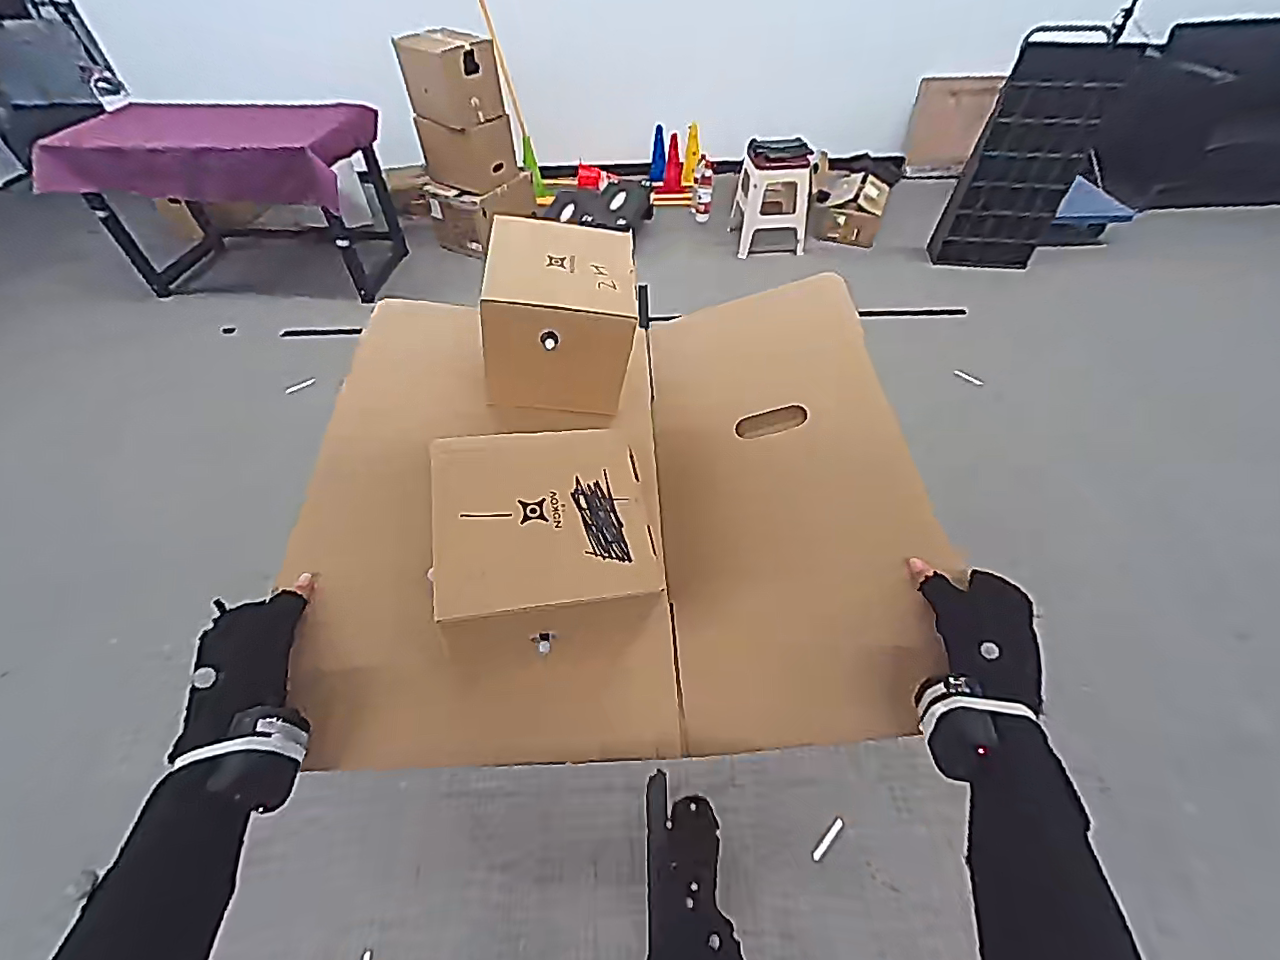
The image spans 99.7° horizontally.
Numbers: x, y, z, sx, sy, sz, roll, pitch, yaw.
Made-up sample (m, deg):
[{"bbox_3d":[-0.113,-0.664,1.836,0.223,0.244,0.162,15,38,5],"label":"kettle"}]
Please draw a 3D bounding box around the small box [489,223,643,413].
[{"bbox_3d":[-0.098,-0.206,0.715,0.179,0.176,0.168,5,56,-10],"label":"small box"}]

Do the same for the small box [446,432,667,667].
[{"bbox_3d":[-0.090,0.070,0.529,0.179,0.176,0.168,-5,58,-15],"label":"small box"}]
